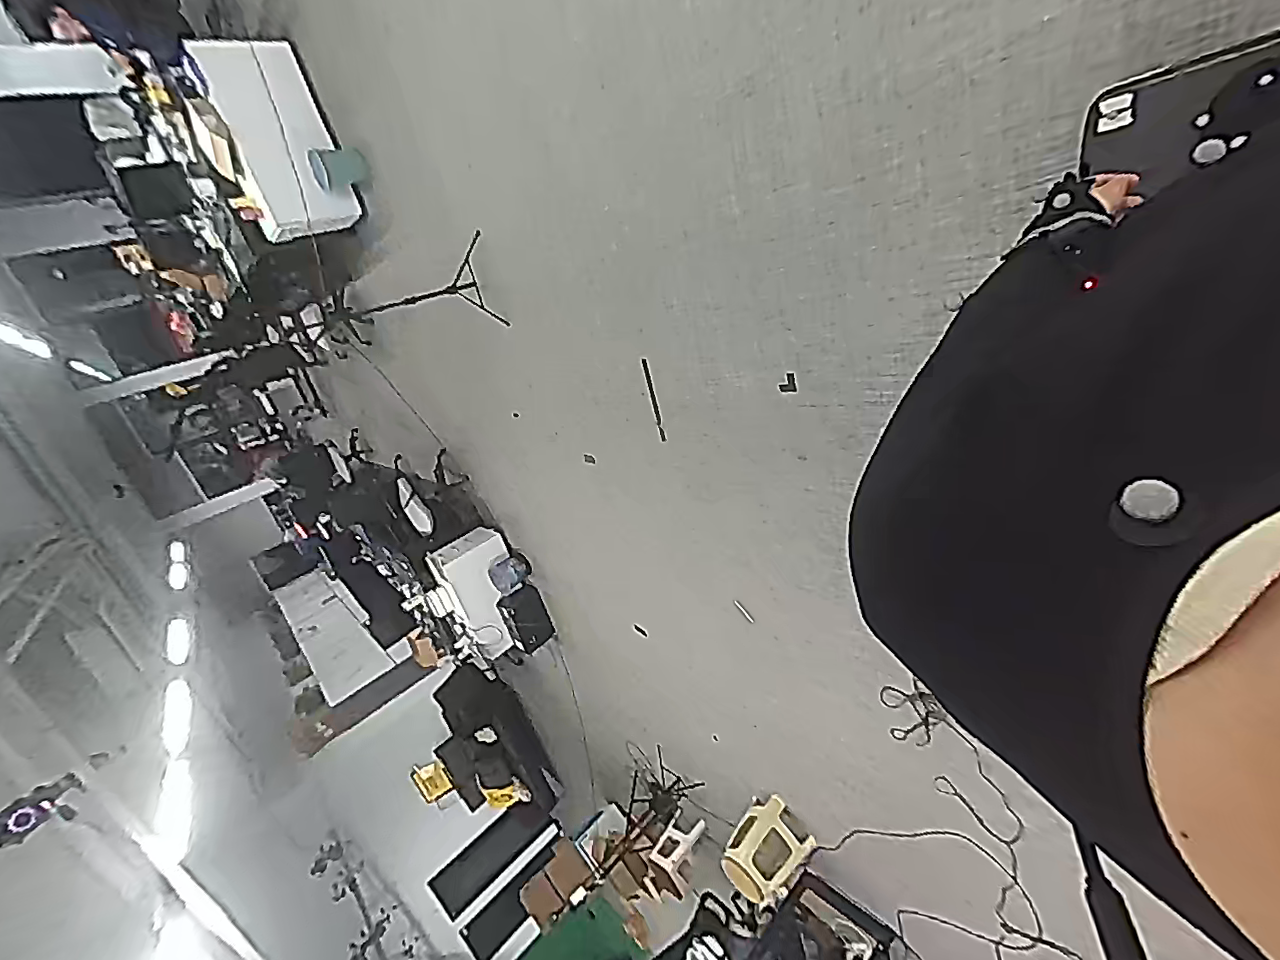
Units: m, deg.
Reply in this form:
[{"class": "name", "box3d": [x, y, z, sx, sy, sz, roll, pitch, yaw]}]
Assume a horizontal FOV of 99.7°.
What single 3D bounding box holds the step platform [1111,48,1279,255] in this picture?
[{"class": "step platform", "box3d": [1.134, -0.522, 0.783, 0.684, 0.204, 0.286, 14, 125, 46]}]
